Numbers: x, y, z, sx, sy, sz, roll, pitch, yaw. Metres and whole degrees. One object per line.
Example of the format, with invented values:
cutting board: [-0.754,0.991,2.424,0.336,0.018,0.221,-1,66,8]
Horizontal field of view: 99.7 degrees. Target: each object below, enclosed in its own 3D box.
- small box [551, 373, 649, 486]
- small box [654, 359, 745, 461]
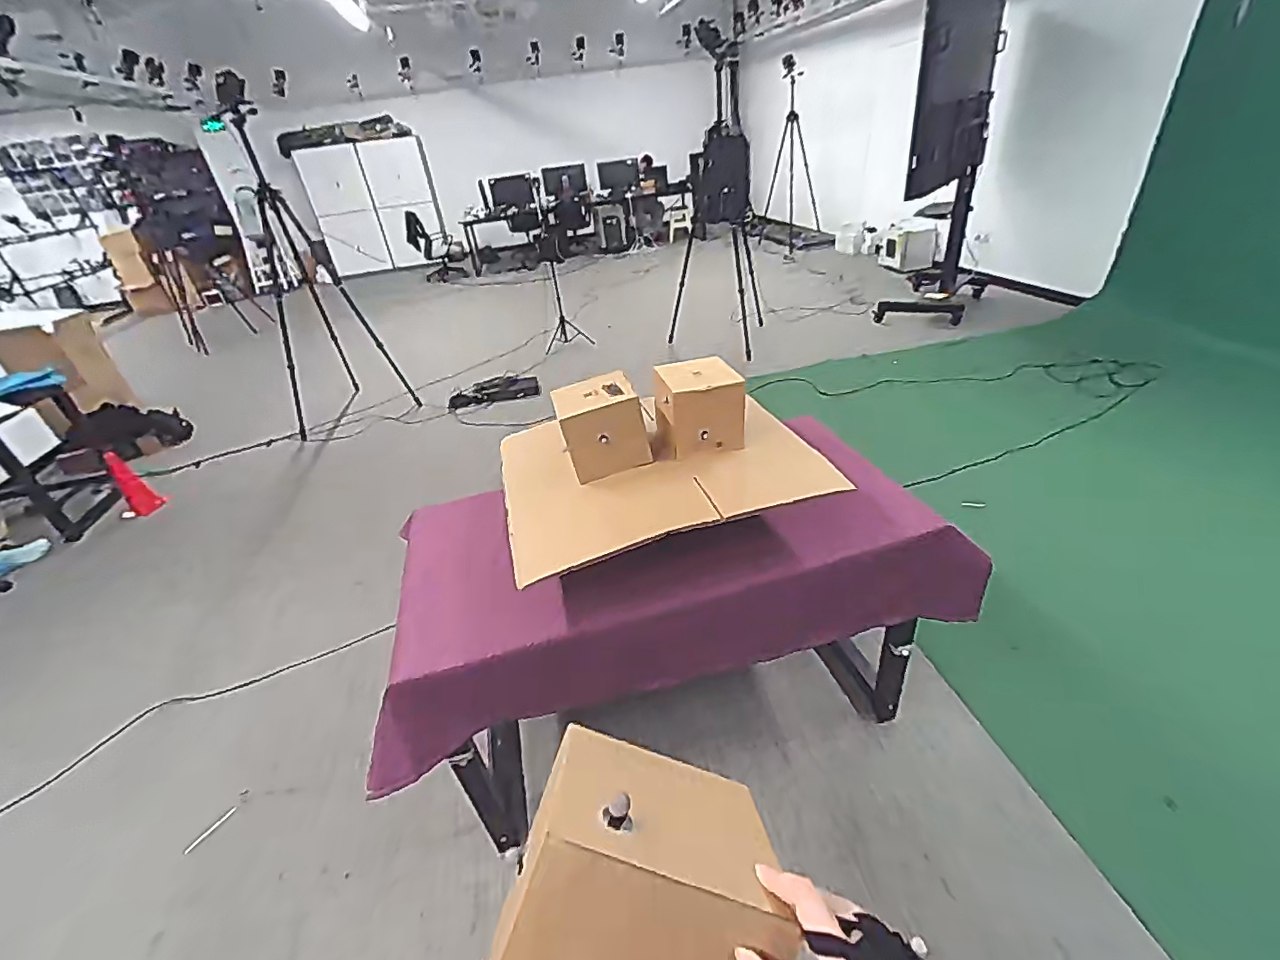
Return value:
small box: [-0.087,-0.115,1.228,0.179,0.176,0.168,-19,34,-4]
small box: [0.134,-0.164,1.260,0.168,0.176,0.179,-11,34,-9]
